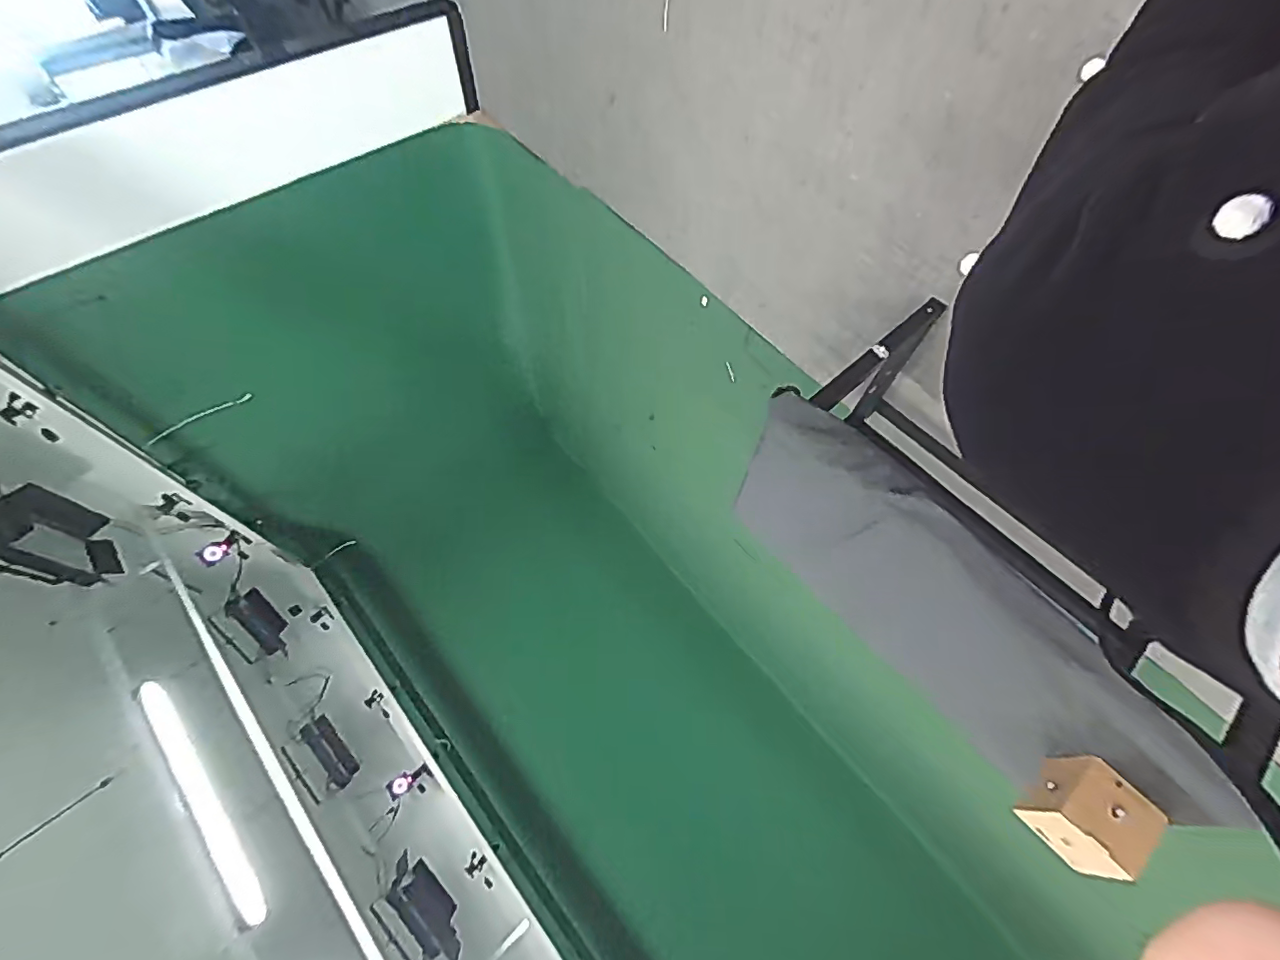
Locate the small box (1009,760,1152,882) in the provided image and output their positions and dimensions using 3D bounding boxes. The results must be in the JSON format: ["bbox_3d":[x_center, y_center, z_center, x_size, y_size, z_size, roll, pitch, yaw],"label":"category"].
[{"bbox_3d":[1.008,0.769,1.236,0.168,0.176,0.179,45,157,21],"label":"small box"}]
